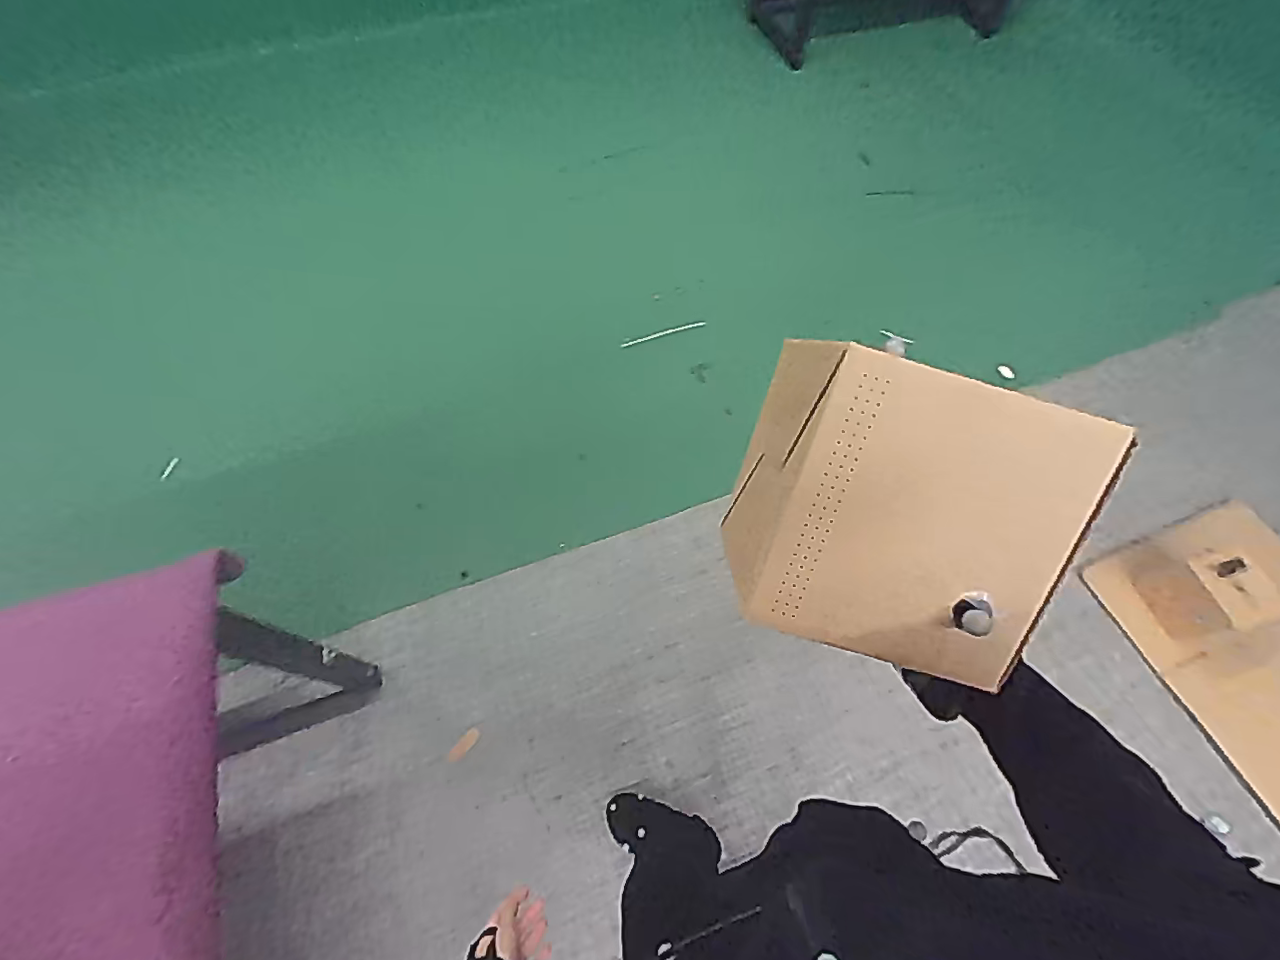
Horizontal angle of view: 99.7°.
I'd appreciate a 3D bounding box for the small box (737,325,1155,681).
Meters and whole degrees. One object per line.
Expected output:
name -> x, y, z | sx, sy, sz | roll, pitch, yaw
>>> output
small box -> 0.179, 0.003, 0.387 | 0.176, 0.168, 0.179 | 17, 105, -2
